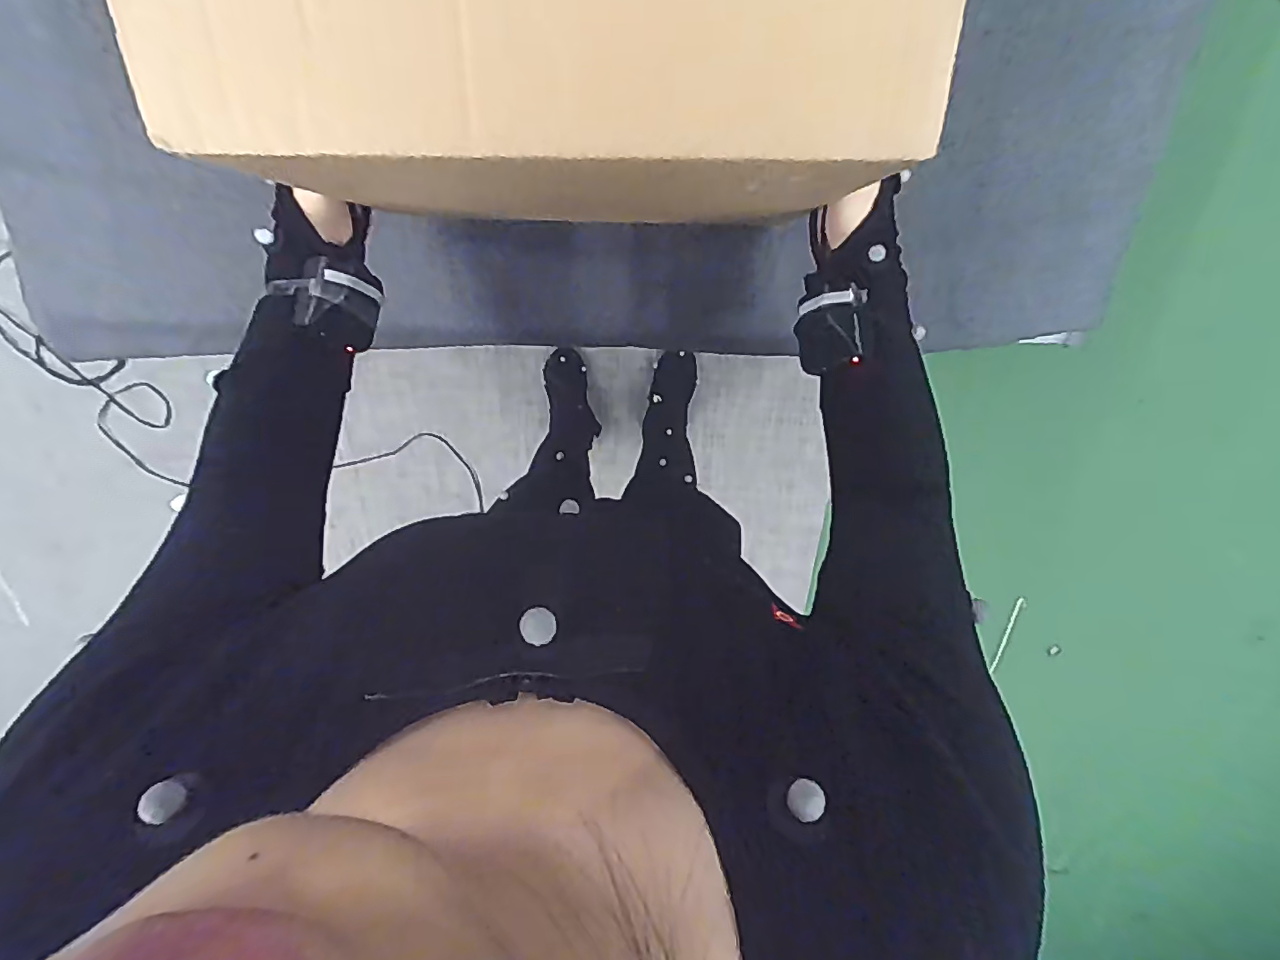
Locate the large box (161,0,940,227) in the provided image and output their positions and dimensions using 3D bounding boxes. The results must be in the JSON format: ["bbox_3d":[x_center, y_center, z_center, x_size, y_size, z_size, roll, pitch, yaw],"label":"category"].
[{"bbox_3d":[-0.046,-0.369,0.389,0.408,0.320,0.320,0,111,0],"label":"large box"}]
